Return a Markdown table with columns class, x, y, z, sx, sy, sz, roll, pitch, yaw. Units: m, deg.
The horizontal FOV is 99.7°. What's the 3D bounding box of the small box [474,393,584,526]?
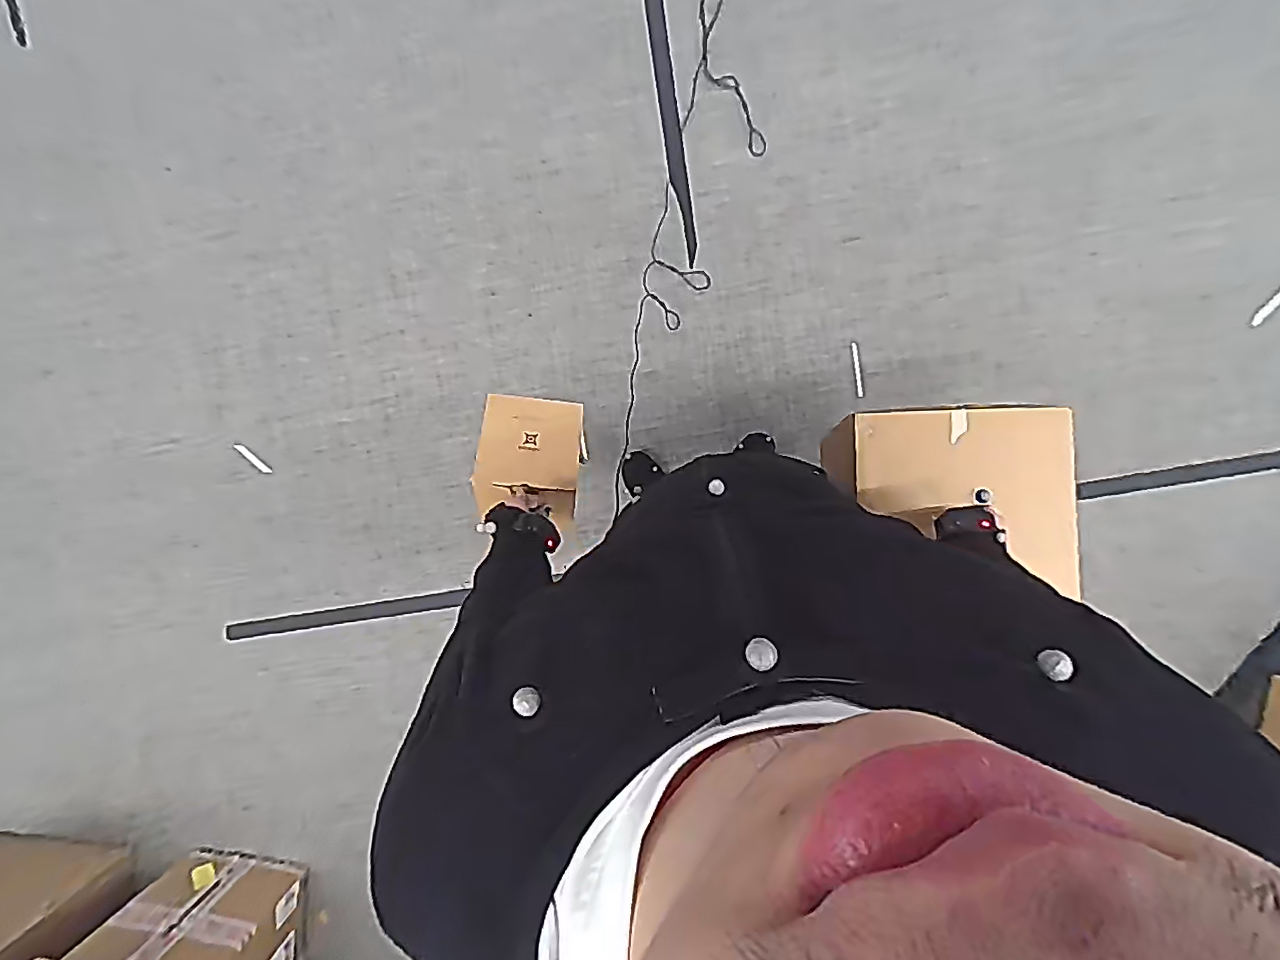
| class | x | y | z | sx | sy | sz | roll | pitch | yaw |
| --- | --- | --- | --- | --- | --- | --- | --- | --- | --- |
| small box | -0.195 | -0.029 | 0.975 | 0.168 | 0.176 | 0.179 | 6 | 61 | -9 |
